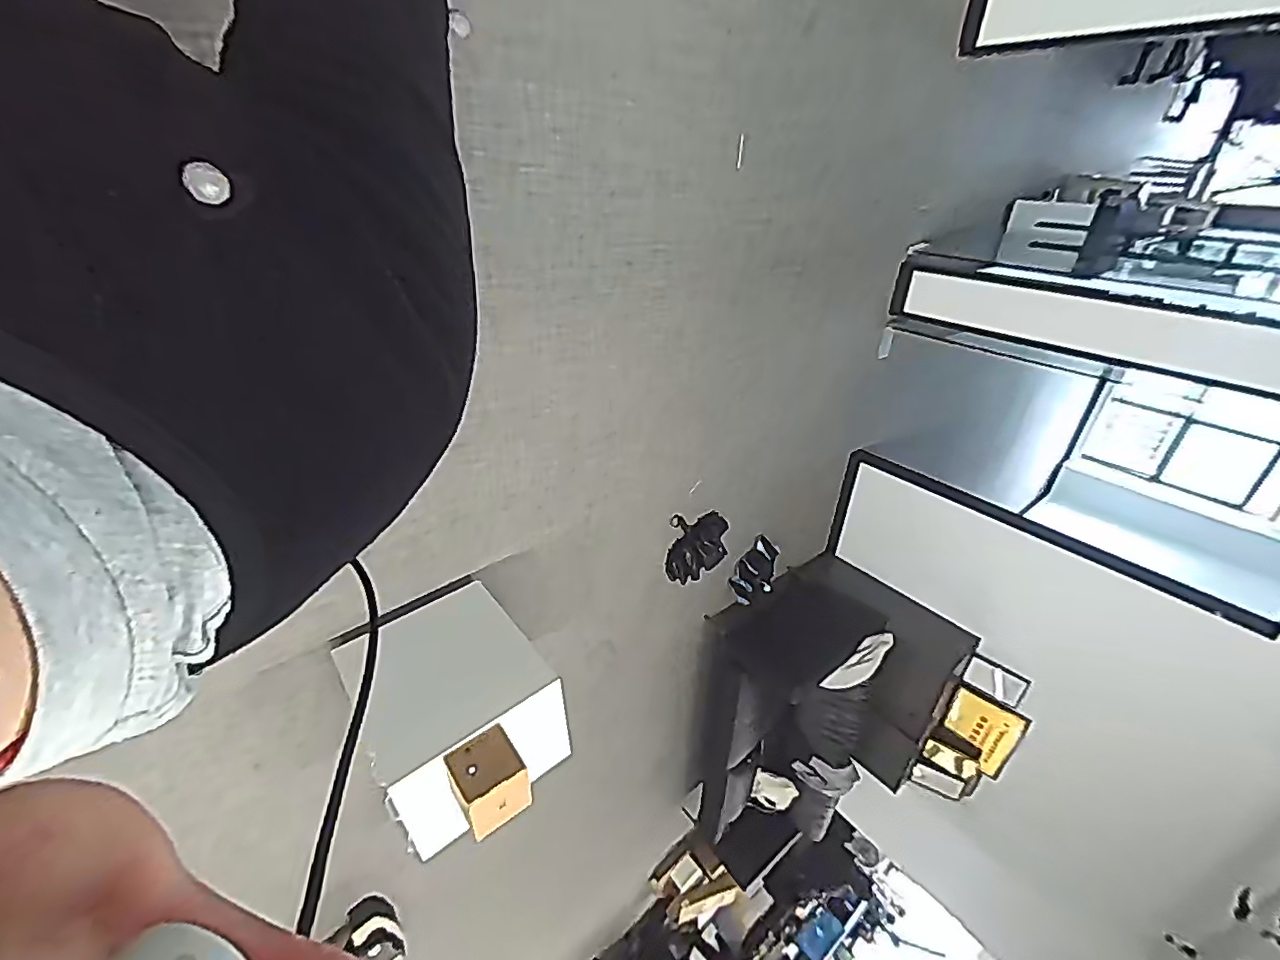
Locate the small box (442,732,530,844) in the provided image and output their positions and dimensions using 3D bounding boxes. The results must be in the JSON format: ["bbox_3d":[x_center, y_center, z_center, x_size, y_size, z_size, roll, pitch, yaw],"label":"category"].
[{"bbox_3d":[-0.413,0.813,1.449,0.168,0.176,0.179,-22,130,-33],"label":"small box"}]
